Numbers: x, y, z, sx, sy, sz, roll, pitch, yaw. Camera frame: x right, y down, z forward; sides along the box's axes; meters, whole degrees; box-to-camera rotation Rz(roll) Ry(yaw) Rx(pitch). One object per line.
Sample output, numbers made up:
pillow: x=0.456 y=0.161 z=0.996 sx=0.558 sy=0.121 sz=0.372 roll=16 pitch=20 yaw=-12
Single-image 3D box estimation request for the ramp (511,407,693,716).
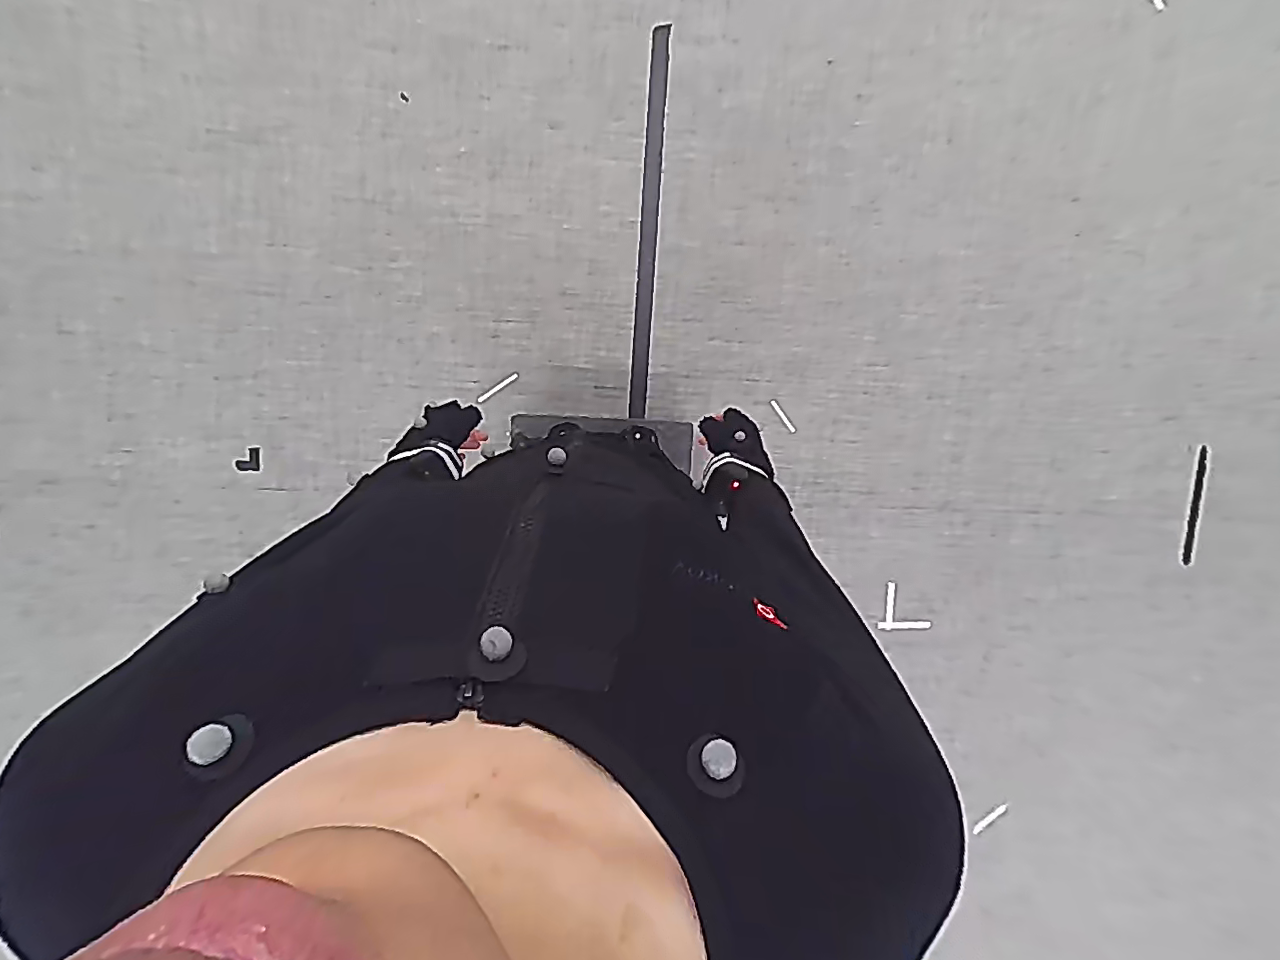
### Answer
ramp: x=-0.119 y=0.286 z=1.593 sx=0.509 sy=0.206 sz=0.991 roll=0 pitch=98 yaw=-4
